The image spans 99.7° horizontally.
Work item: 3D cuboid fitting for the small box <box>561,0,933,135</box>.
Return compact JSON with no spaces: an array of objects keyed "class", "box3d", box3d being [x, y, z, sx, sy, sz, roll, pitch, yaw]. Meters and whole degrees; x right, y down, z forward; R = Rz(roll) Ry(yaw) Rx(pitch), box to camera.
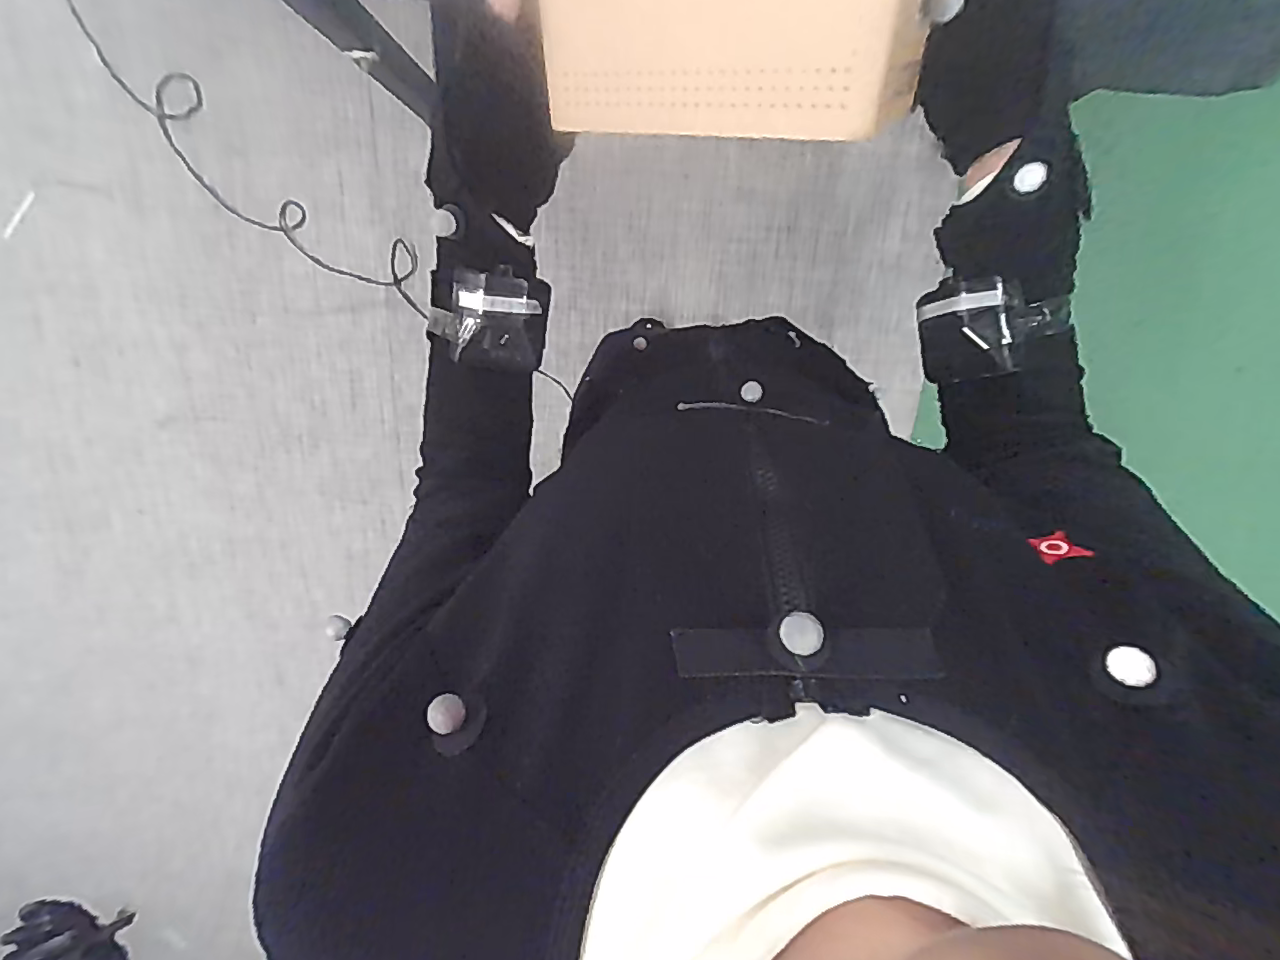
[{"class":"small box","box3d":[0.065,-0.293,0.291,0.179,0.168,0.176,18,132,21]}]
